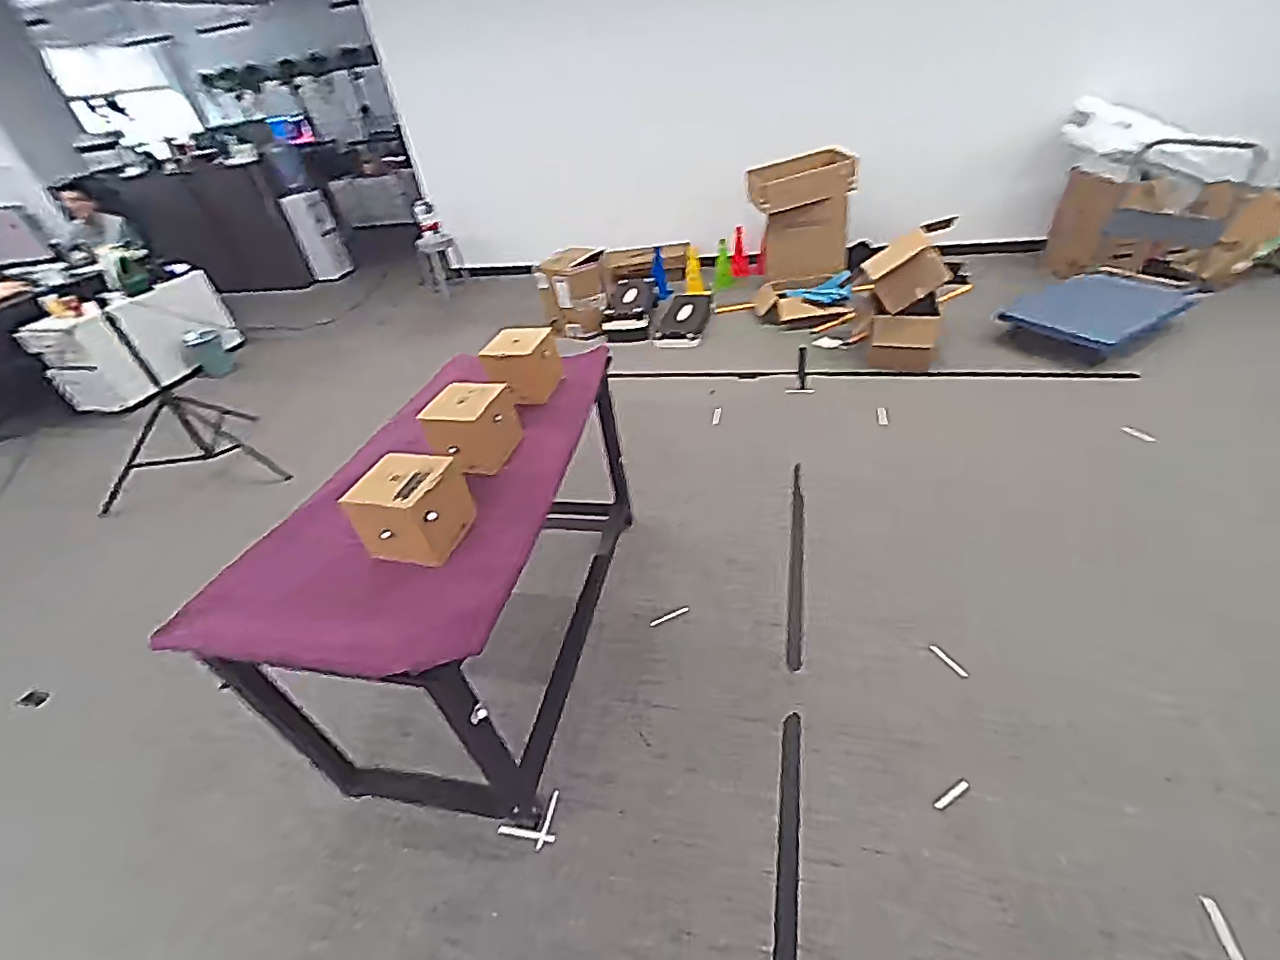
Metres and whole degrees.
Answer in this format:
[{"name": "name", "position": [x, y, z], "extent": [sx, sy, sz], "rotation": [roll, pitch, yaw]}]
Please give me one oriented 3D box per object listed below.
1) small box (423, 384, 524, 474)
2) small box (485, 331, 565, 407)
[{"name": "small box", "position": [-0.419, -0.131, 1.398], "extent": [0.168, 0.176, 0.179], "rotation": [5, 40, 16]}, {"name": "small box", "position": [-0.341, -0.341, 1.648], "extent": [0.168, 0.176, 0.179], "rotation": [4, 41, 17]}]
